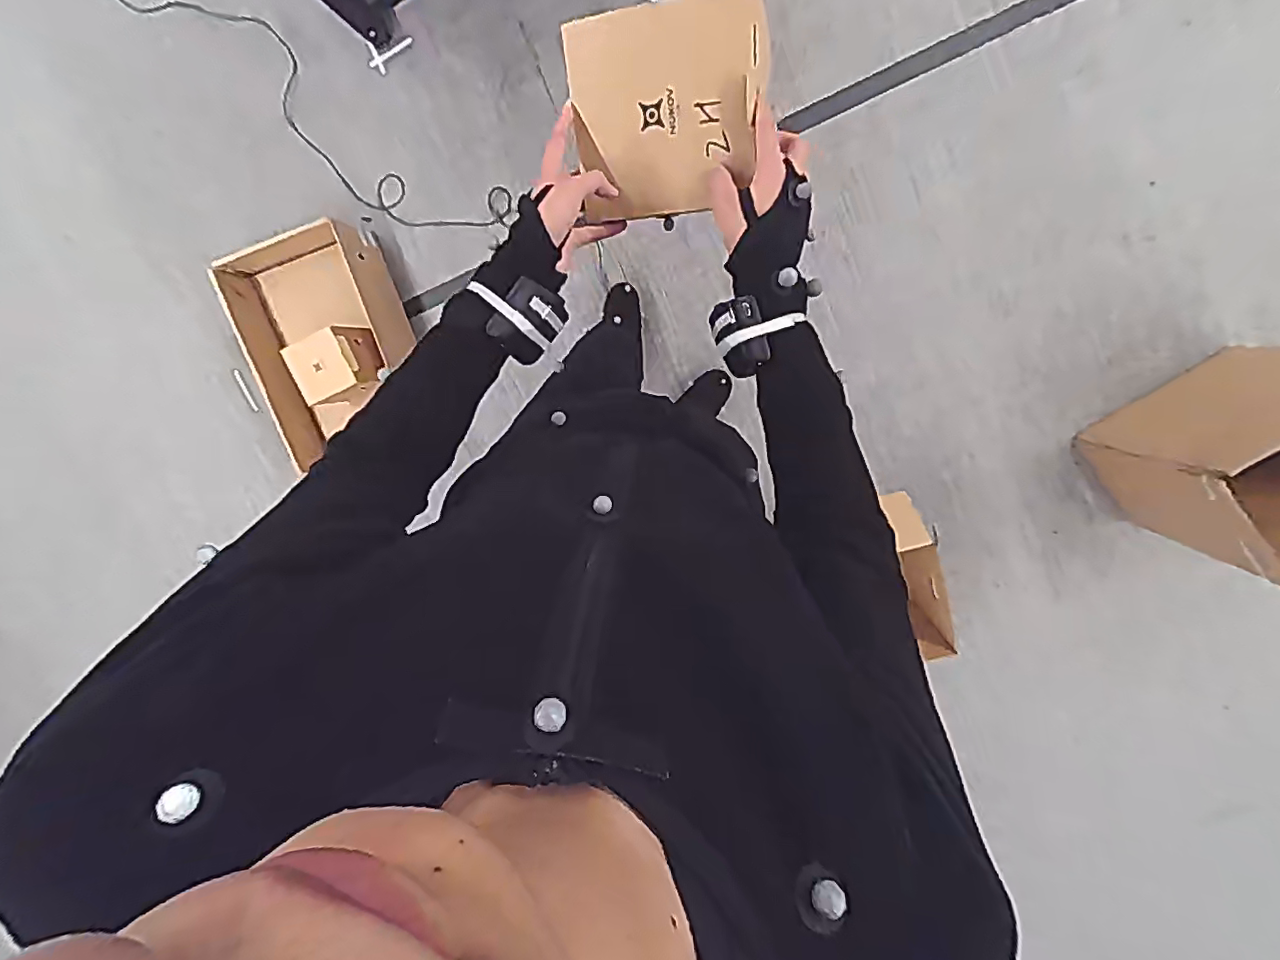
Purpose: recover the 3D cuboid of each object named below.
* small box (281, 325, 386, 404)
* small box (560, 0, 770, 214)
[{"bbox_3d":[-0.855,-0.330,1.536,0.179,0.176,0.168,-20,99,12],"label":"small box"},{"bbox_3d":[0.039,-0.374,0.561,0.179,0.176,0.168,2,117,16],"label":"small box"}]
